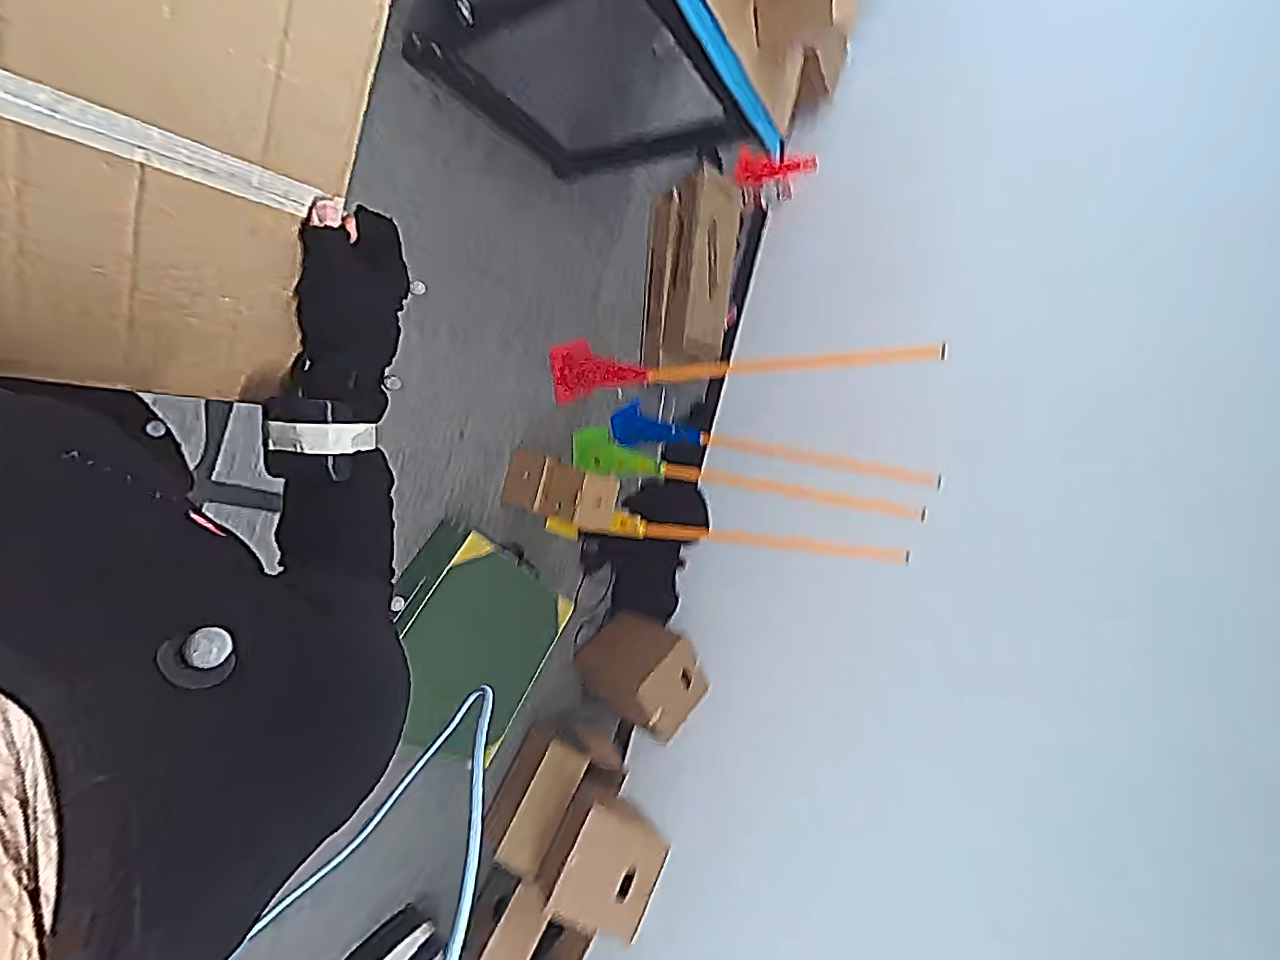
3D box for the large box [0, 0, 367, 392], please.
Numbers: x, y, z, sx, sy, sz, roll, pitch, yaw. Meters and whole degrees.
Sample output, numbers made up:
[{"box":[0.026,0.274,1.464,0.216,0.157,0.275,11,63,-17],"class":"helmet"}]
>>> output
[{"box":[-0.440,-0.279,0.312,0.408,0.320,0.320,0,128,-47],"class":"large box"}]
